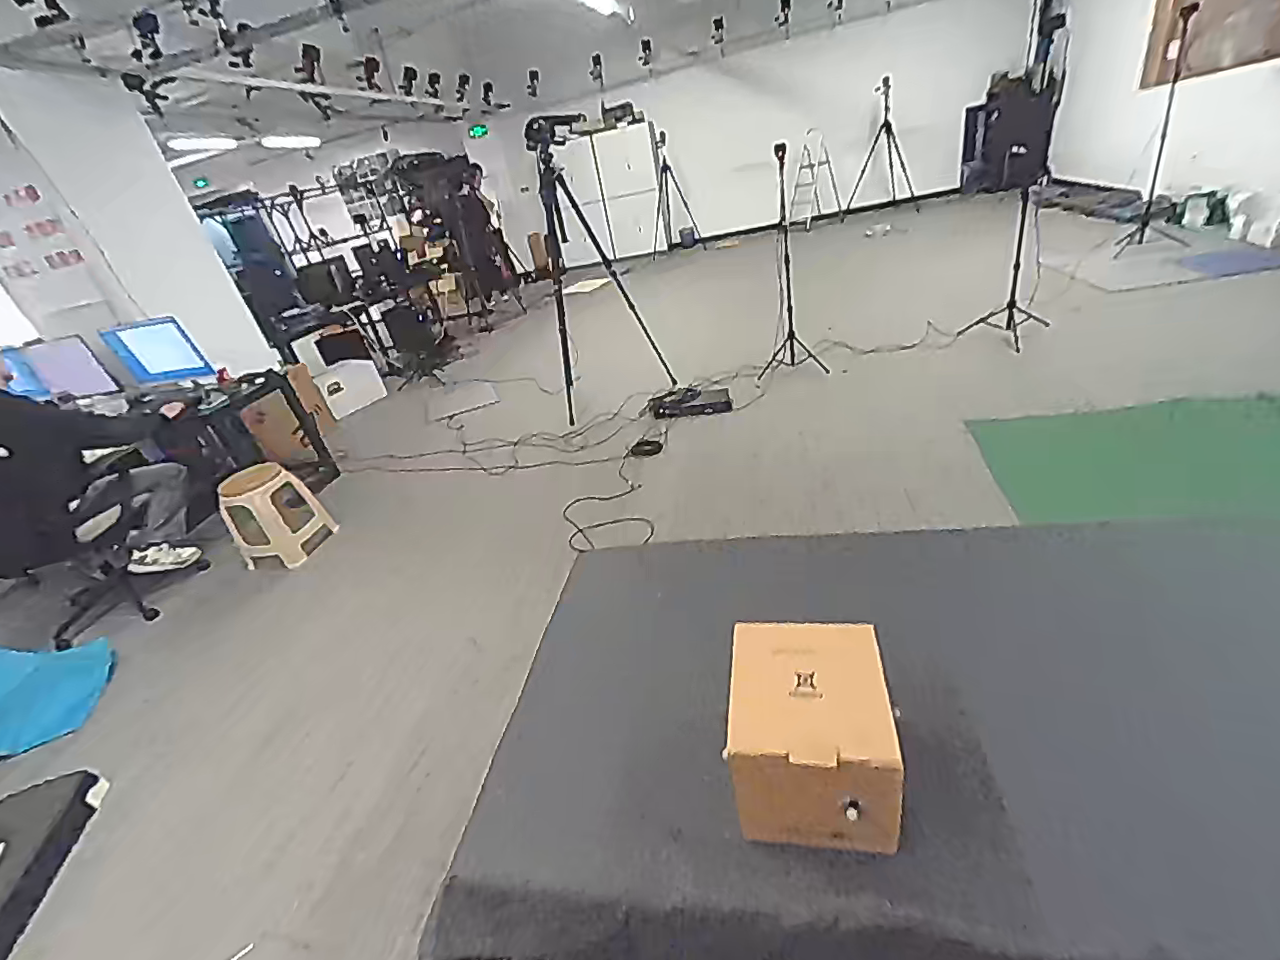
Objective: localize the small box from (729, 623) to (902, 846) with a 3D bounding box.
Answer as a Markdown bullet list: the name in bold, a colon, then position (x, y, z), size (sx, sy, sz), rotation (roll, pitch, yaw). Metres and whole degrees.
- **small box**: position (0.199, 0.290, 0.631), size (0.168, 0.176, 0.179), rotation (-3, 30, 14)
